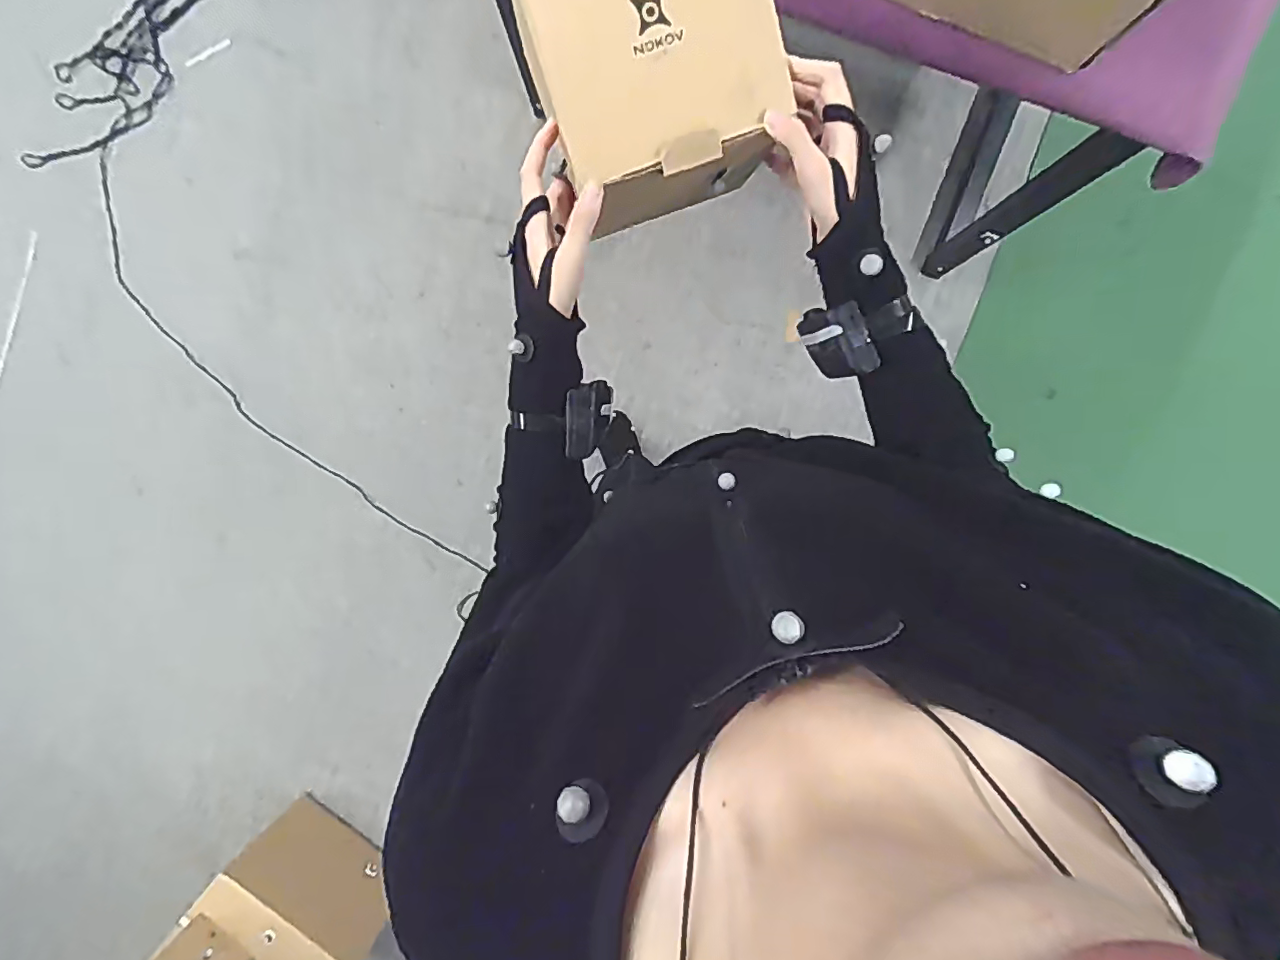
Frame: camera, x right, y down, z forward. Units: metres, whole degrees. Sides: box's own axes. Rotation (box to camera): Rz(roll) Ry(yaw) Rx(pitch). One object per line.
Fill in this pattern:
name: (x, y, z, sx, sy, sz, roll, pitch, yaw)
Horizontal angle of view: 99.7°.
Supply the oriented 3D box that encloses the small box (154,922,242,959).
small box: (-1.030, 1.141, 1.181, 0.168, 0.176, 0.179, 39, 94, -1)
